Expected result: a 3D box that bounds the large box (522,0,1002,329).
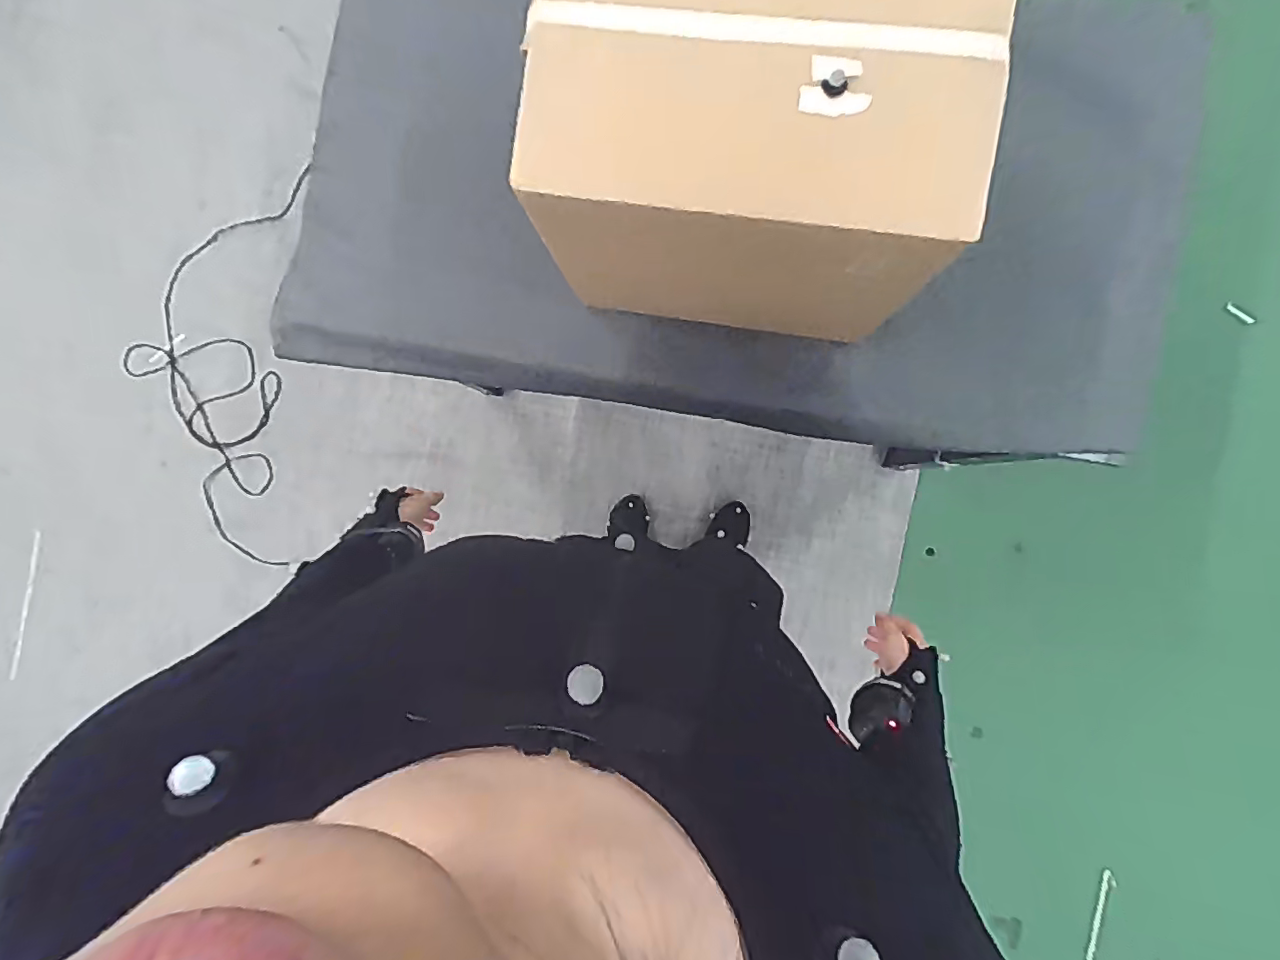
[{"bbox_3d":[0.116,-0.388,0.626,0.408,0.320,0.320,9,91,5],"label":"large box"}]
